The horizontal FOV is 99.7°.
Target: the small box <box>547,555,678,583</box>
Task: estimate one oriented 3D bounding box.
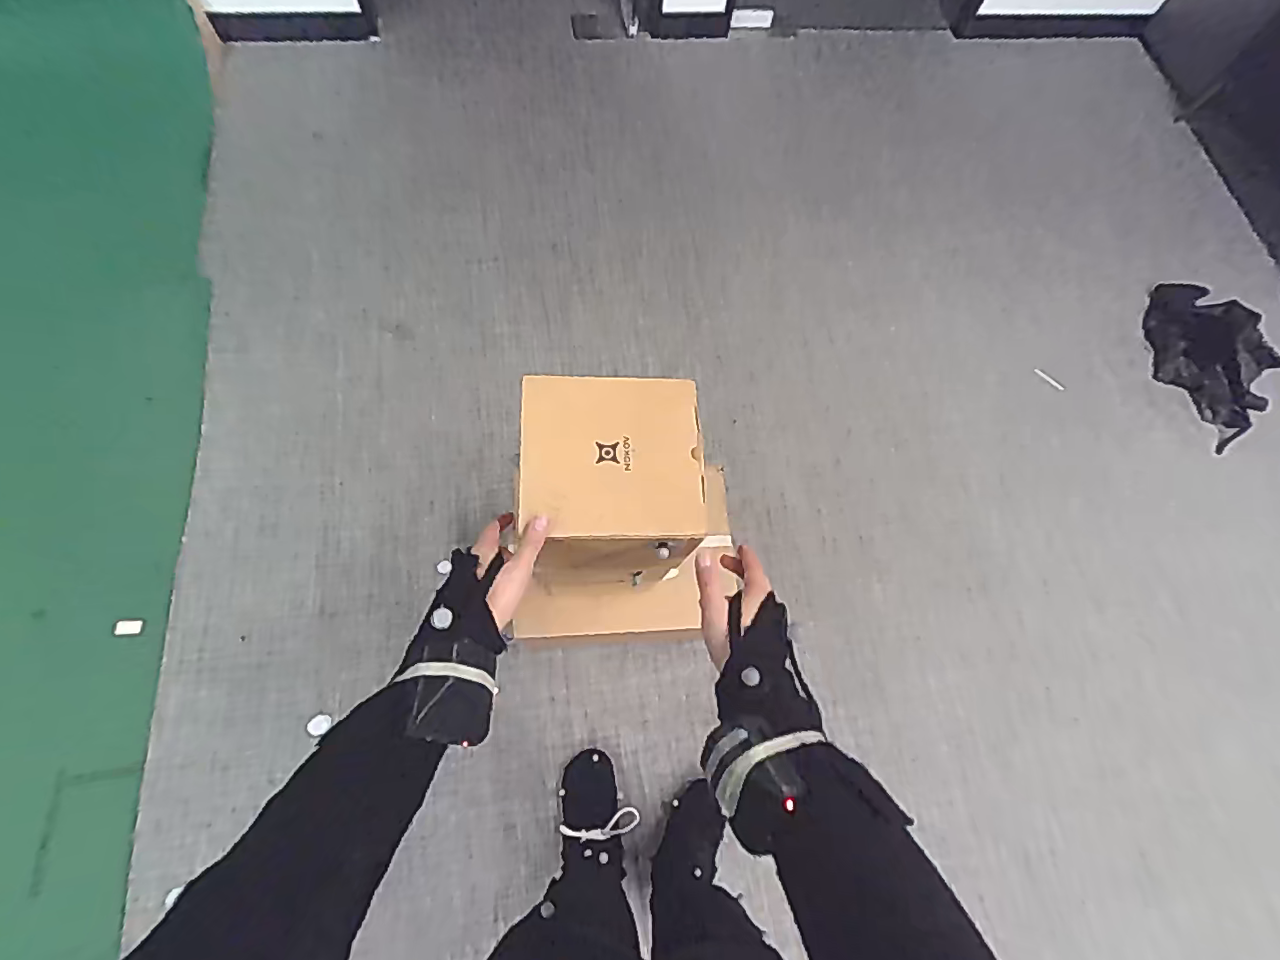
[{"bbox_3d":[-0.047,0.043,0.745,0.168,0.176,0.179,-2,70,-8],"label":"small box"}]

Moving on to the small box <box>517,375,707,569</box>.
[{"bbox_3d":[-0.035,0.001,0.589,0.179,0.176,0.168,0,71,-8],"label":"small box"}]

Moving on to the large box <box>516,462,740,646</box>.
[{"bbox_3d":[-0.044,0.166,1.135,0.408,0.320,0.320,-2,71,-8],"label":"large box"}]
